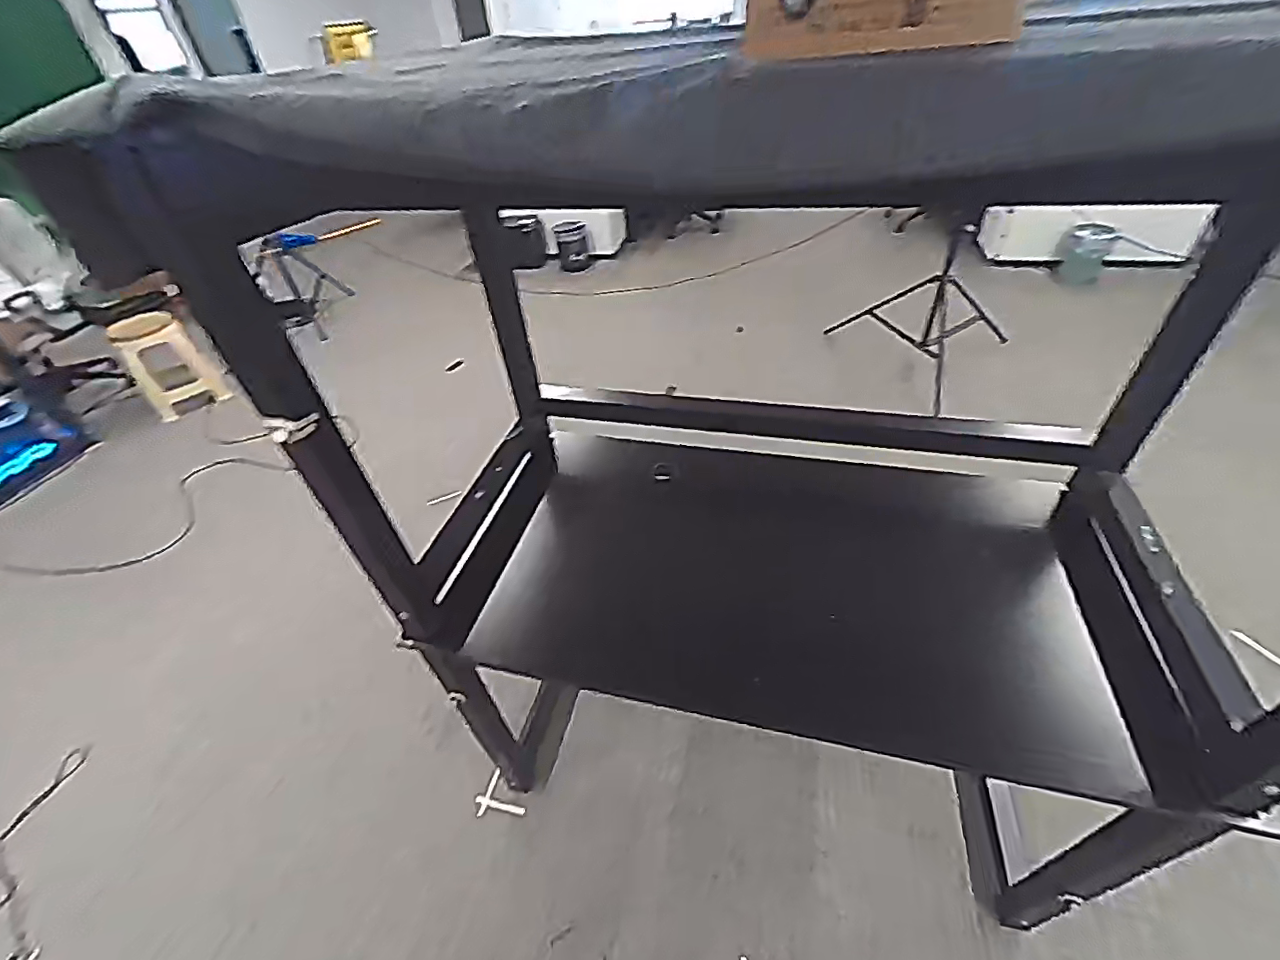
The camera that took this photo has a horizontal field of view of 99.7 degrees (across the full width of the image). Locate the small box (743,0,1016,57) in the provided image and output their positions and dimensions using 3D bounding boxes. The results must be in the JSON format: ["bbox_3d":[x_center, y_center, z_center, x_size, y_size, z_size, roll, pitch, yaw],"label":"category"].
[{"bbox_3d":[0.160,-0.390,0.354,0.168,0.176,0.179,6,41,13],"label":"small box"}]
